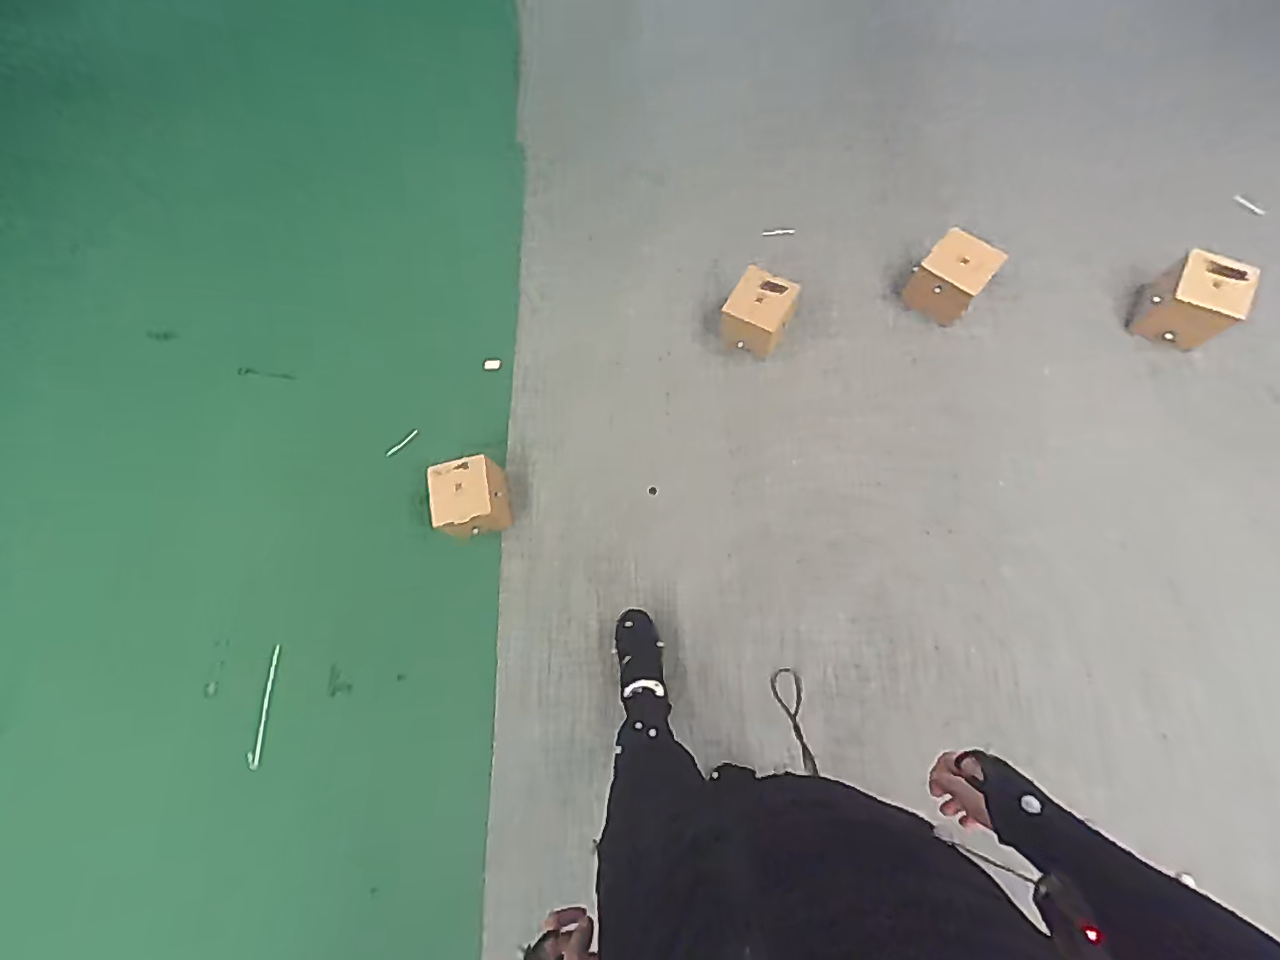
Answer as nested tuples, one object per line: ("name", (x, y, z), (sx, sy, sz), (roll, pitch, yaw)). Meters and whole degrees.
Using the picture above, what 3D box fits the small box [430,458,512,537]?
("small box", (-0.476, 0.059, 1.538), (0.168, 0.176, 0.179), (-13, 72, 2))

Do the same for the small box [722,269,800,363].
("small box", (0.355, -0.488, 1.622), (0.168, 0.176, 0.179), (29, 78, 14))
